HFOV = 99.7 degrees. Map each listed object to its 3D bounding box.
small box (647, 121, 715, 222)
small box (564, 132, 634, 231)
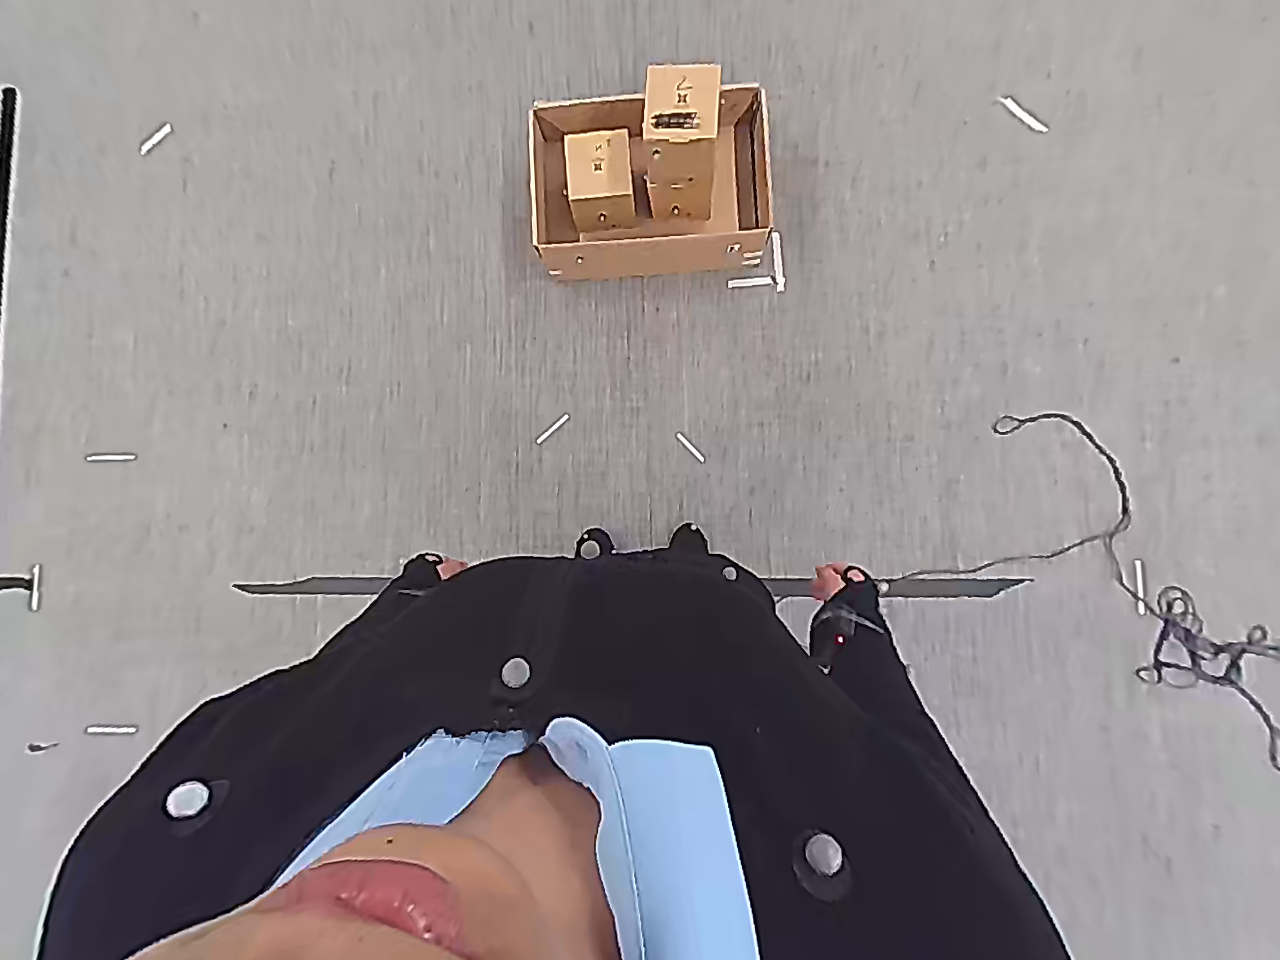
[{"bbox_3d":[0.110,-0.818,1.444,0.168,0.176,0.179,2,87,6],"label":"small box"},{"bbox_3d":[-0.105,-0.791,1.452,0.168,0.176,0.179,-4,86,1],"label":"small box"}]
